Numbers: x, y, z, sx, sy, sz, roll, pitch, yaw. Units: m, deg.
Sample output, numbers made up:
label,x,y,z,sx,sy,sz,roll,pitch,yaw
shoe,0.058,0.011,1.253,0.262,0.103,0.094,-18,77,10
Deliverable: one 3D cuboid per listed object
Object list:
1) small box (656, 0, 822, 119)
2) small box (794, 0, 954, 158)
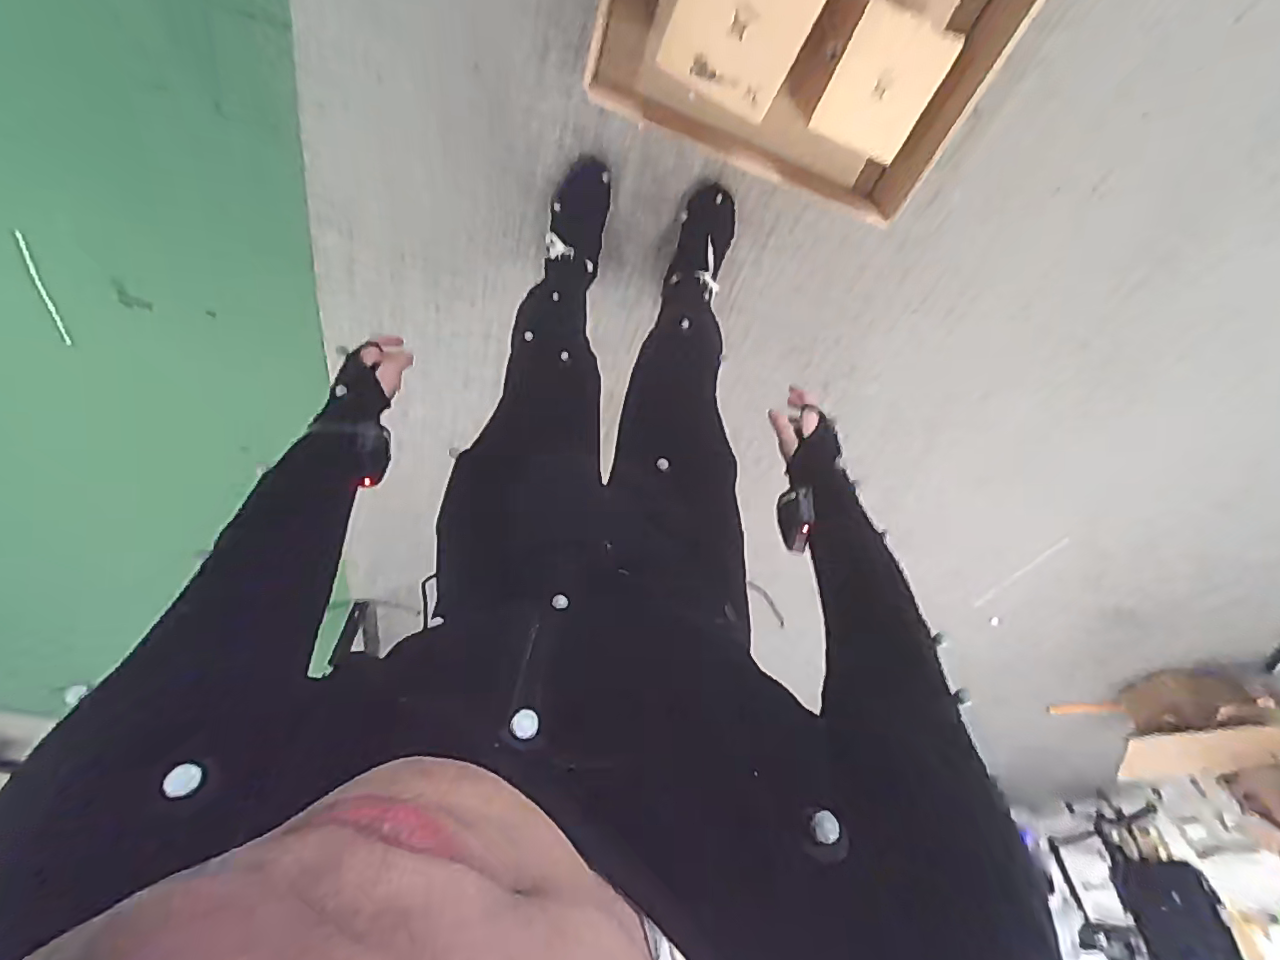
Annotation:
label,x,y,z,sx,sy,sz,roll,pitch,yaw
small box,0.127,-0.639,0.733,0.168,0.176,0.179,18,132,-18
small box,0.378,-0.690,0.916,0.168,0.176,0.179,14,134,-13
